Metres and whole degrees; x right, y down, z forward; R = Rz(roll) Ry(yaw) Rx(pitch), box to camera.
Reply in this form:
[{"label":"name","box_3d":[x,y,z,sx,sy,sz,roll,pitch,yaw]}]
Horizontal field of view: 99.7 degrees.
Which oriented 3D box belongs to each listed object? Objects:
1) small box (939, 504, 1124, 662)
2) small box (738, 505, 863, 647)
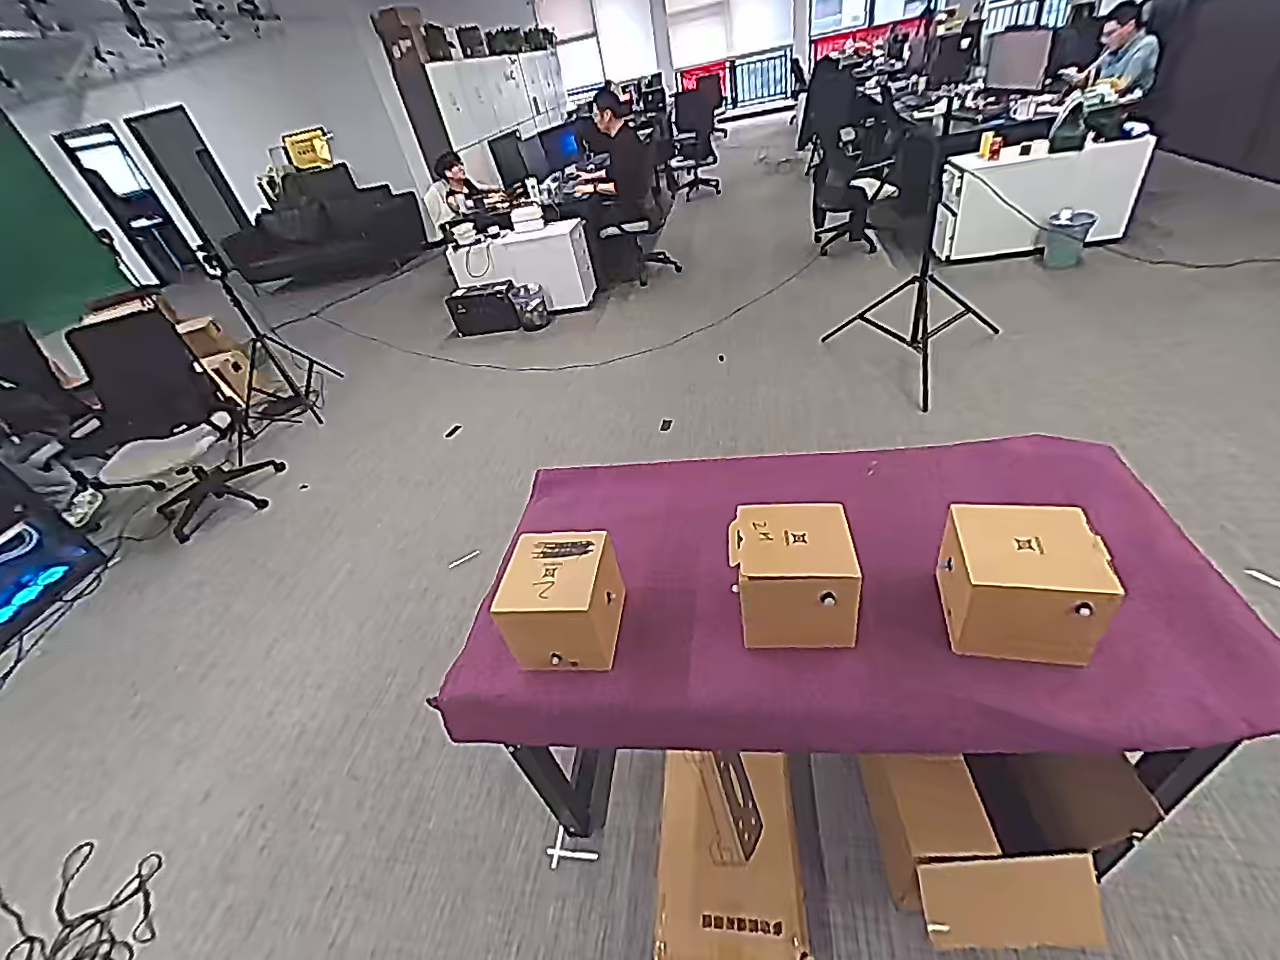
[{"label":"small box","box_3d":[0.563,0.153,0.812,0.179,0.176,0.168,1,40,17]},{"label":"small box","box_3d":[0.255,0.160,0.894,0.179,0.176,0.168,-4,36,12]}]
